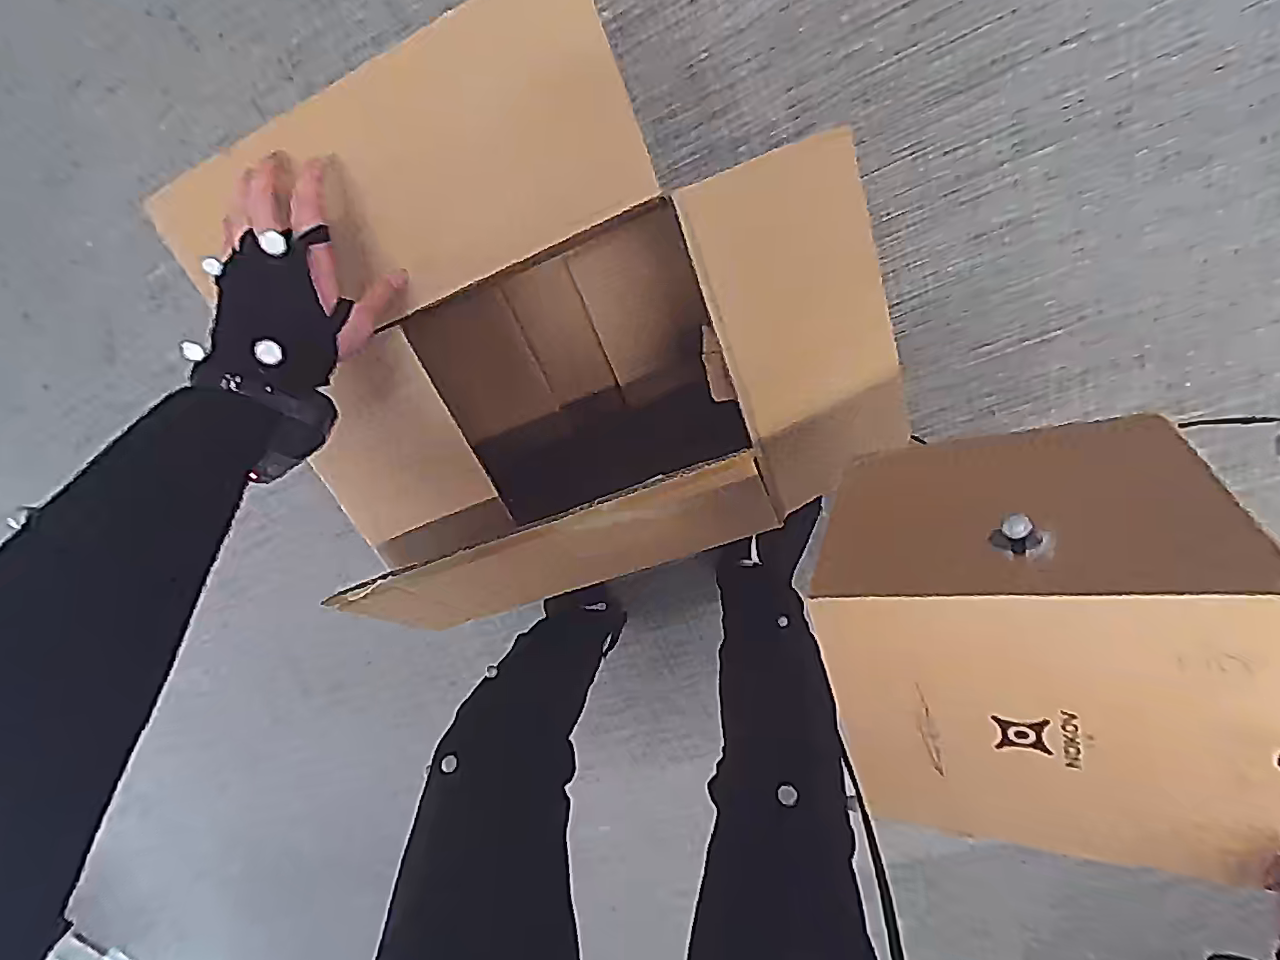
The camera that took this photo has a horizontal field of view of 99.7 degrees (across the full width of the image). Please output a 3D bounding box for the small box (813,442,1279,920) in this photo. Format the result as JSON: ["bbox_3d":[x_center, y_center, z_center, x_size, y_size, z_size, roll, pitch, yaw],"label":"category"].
[{"bbox_3d":[0.212,0.088,0.308,0.179,0.176,0.168,-5,113,30],"label":"small box"}]
